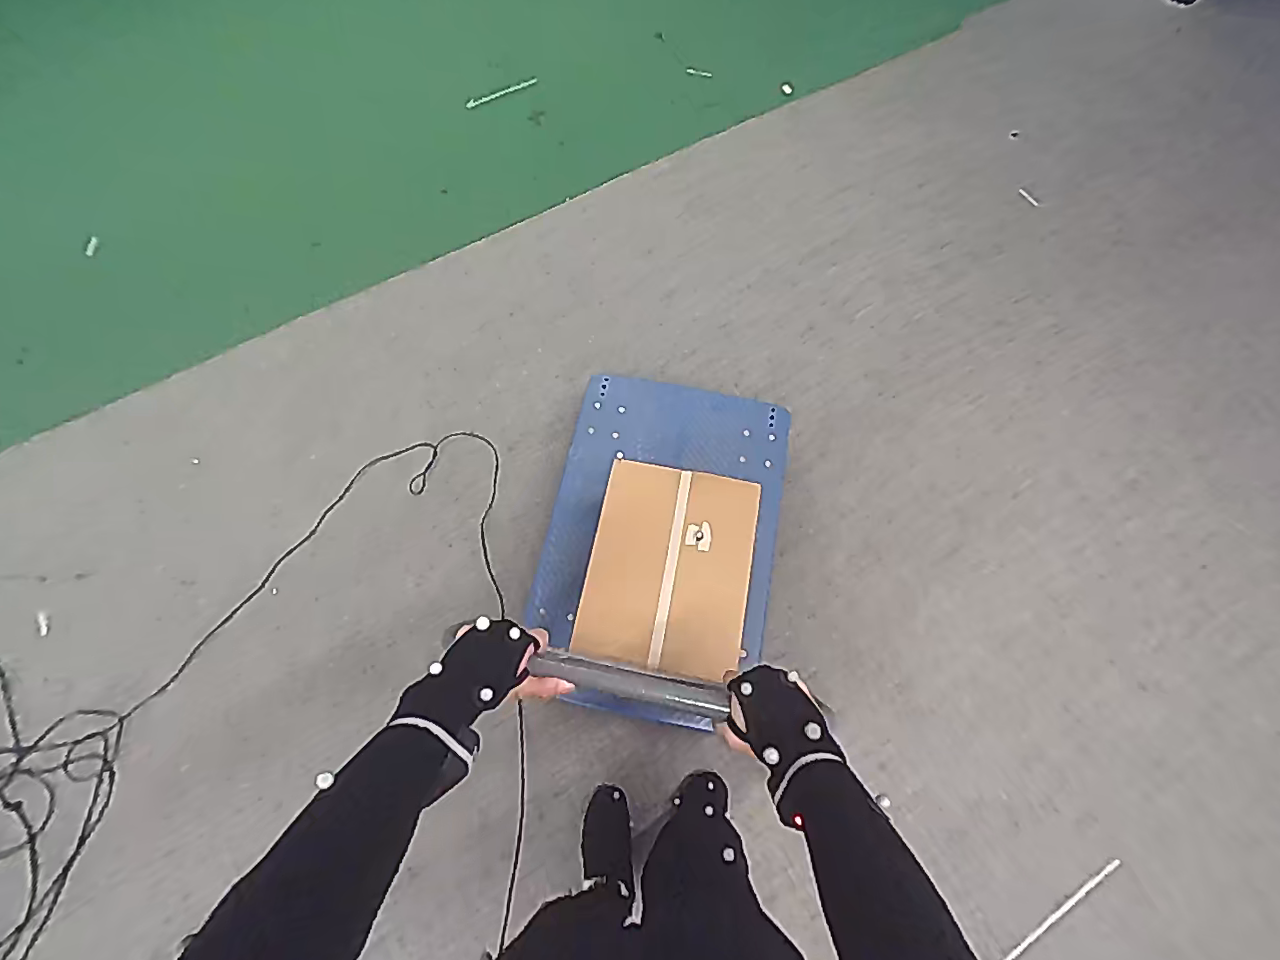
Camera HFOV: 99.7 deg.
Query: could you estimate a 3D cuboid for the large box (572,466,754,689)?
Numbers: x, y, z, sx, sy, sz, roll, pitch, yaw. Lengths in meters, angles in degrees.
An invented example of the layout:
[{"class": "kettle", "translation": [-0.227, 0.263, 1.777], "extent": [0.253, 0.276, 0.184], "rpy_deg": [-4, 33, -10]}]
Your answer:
[{"class": "large box", "translation": [0.056, 0.232, 1.213], "extent": [0.320, 0.320, 0.408], "rpy_deg": [11, 68, 4]}]
